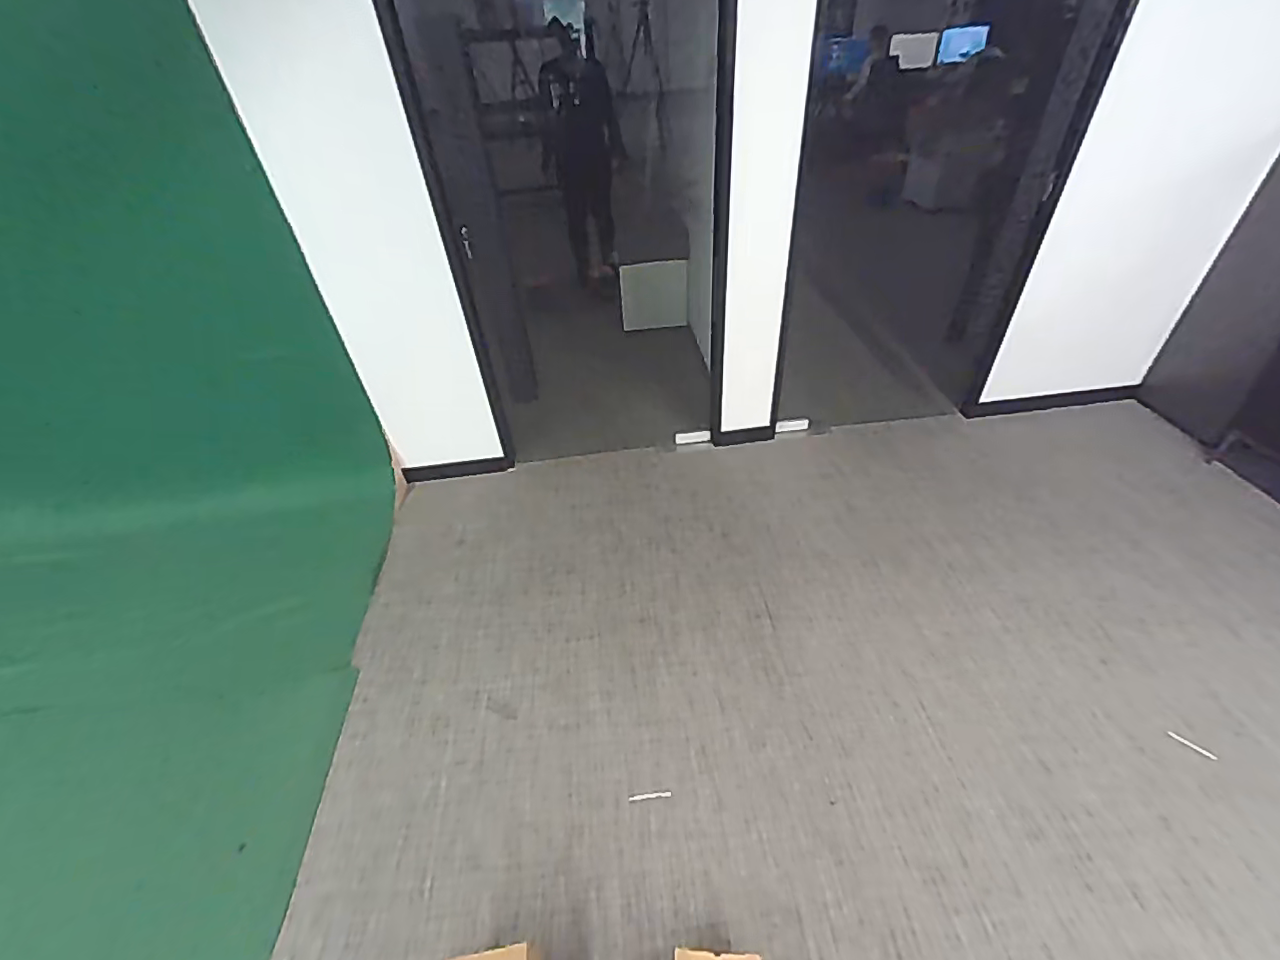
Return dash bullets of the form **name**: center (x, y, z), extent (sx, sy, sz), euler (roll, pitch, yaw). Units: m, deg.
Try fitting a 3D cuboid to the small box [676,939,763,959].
- **small box**: center (0.147, 1.001, 1.019), extent (0.168, 0.176, 0.179), euler (0, 41, 6)
